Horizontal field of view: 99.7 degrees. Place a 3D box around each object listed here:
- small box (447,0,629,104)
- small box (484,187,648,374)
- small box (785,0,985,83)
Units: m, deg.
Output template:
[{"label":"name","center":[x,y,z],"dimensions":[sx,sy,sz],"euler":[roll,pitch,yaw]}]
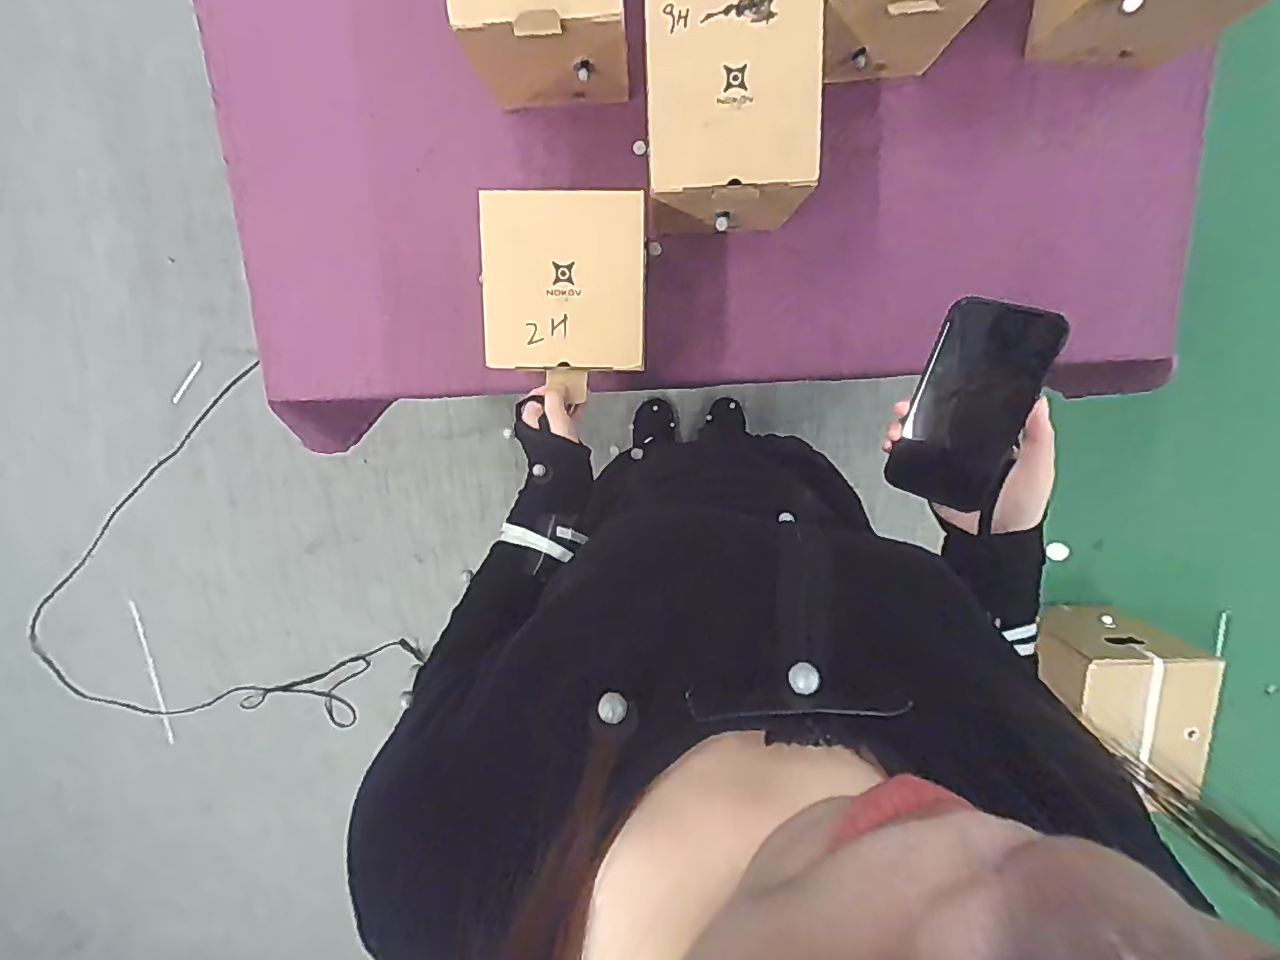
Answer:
[{"label":"small box","center":[-0.099,-0.525,0.568],"dimensions":[0.168,0.176,0.179],"euler":[-3,101,1]},{"label":"small box","center":[-0.076,-0.216,0.627],"dimensions":[0.168,0.176,0.179],"euler":[2,101,2]},{"label":"small box","center":[0.249,-0.552,0.554],"dimensions":[0.168,0.176,0.179],"euler":[-4,103,3]}]
